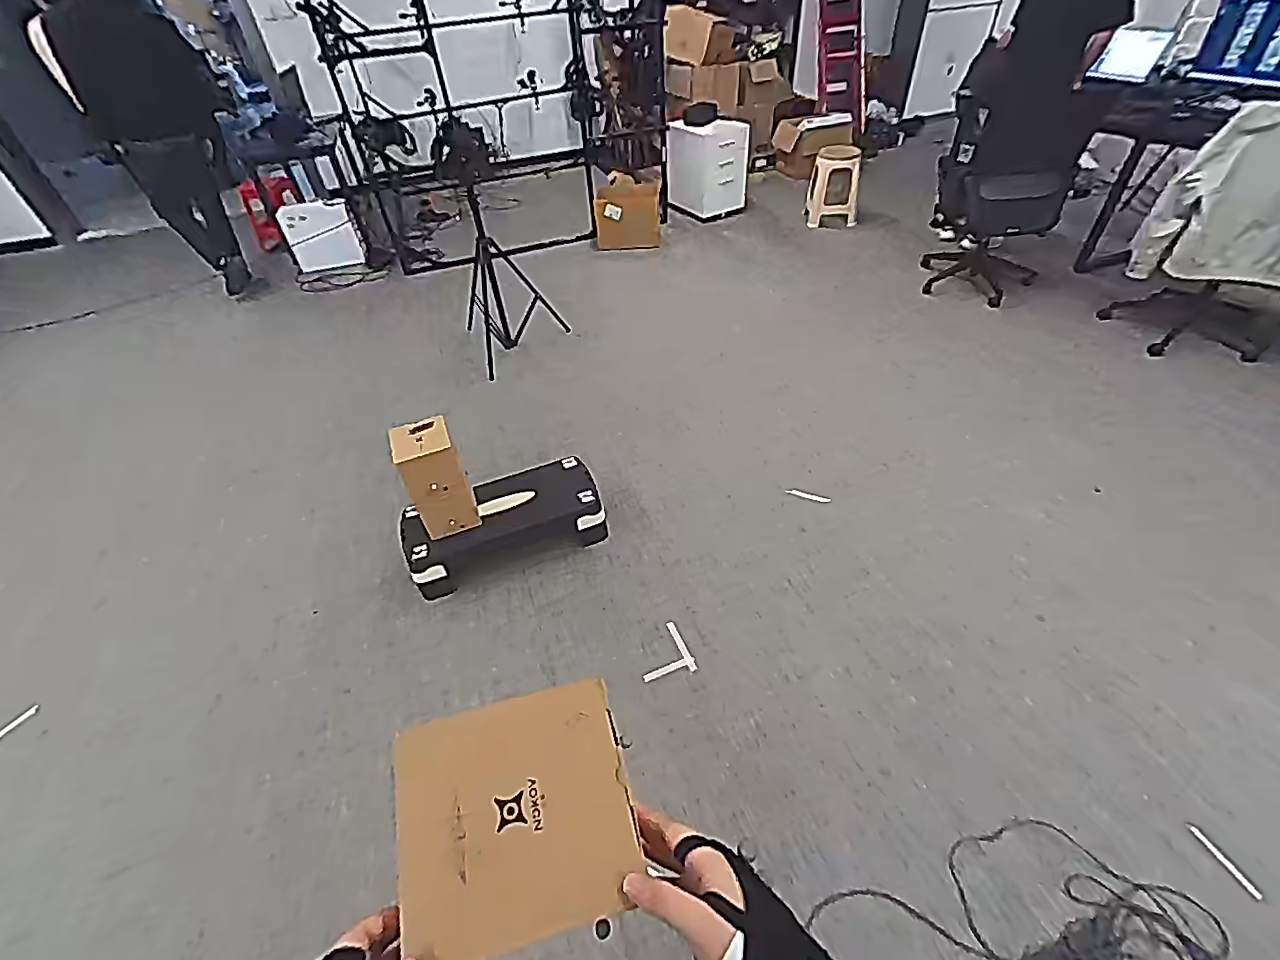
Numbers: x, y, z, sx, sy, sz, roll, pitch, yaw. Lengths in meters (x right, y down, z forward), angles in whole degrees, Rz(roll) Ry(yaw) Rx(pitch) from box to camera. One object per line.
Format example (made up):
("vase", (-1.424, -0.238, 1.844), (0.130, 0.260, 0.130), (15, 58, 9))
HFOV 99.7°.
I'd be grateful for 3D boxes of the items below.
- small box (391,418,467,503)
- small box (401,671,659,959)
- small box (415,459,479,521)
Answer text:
("small box", (-0.646, -0.059, 1.659), (0.168, 0.176, 0.179), (-19, 46, -14))
("small box", (-0.092, 0.294, 0.479), (0.179, 0.176, 0.168), (-14, 55, -9))
("small box", (-0.631, 0.062, 1.768), (0.168, 0.176, 0.179), (-18, 45, -13))
